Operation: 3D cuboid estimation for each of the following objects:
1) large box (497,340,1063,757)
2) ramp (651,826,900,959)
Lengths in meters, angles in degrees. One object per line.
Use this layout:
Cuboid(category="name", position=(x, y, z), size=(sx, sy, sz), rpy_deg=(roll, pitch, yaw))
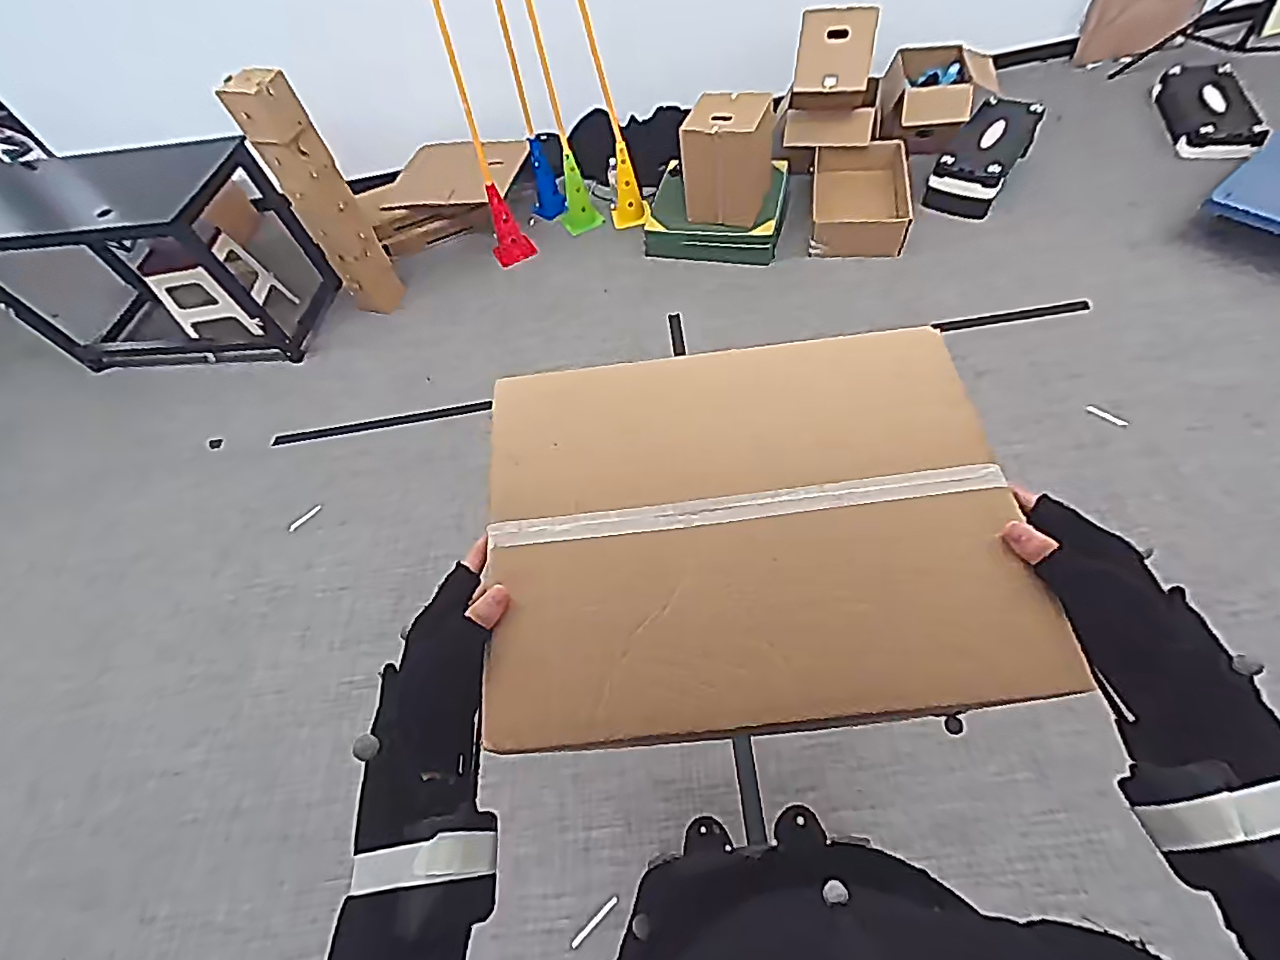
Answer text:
Cuboid(category="large box", position=(0.095, 0.095, 0.573), size=(0.408, 0.320, 0.320), rpy_deg=(-7, 63, 2))
Cuboid(category="ramp", position=(0.320, 1.252, 1.017), size=(0.509, 0.206, 0.991), rpy_deg=(-9, 58, 2))
